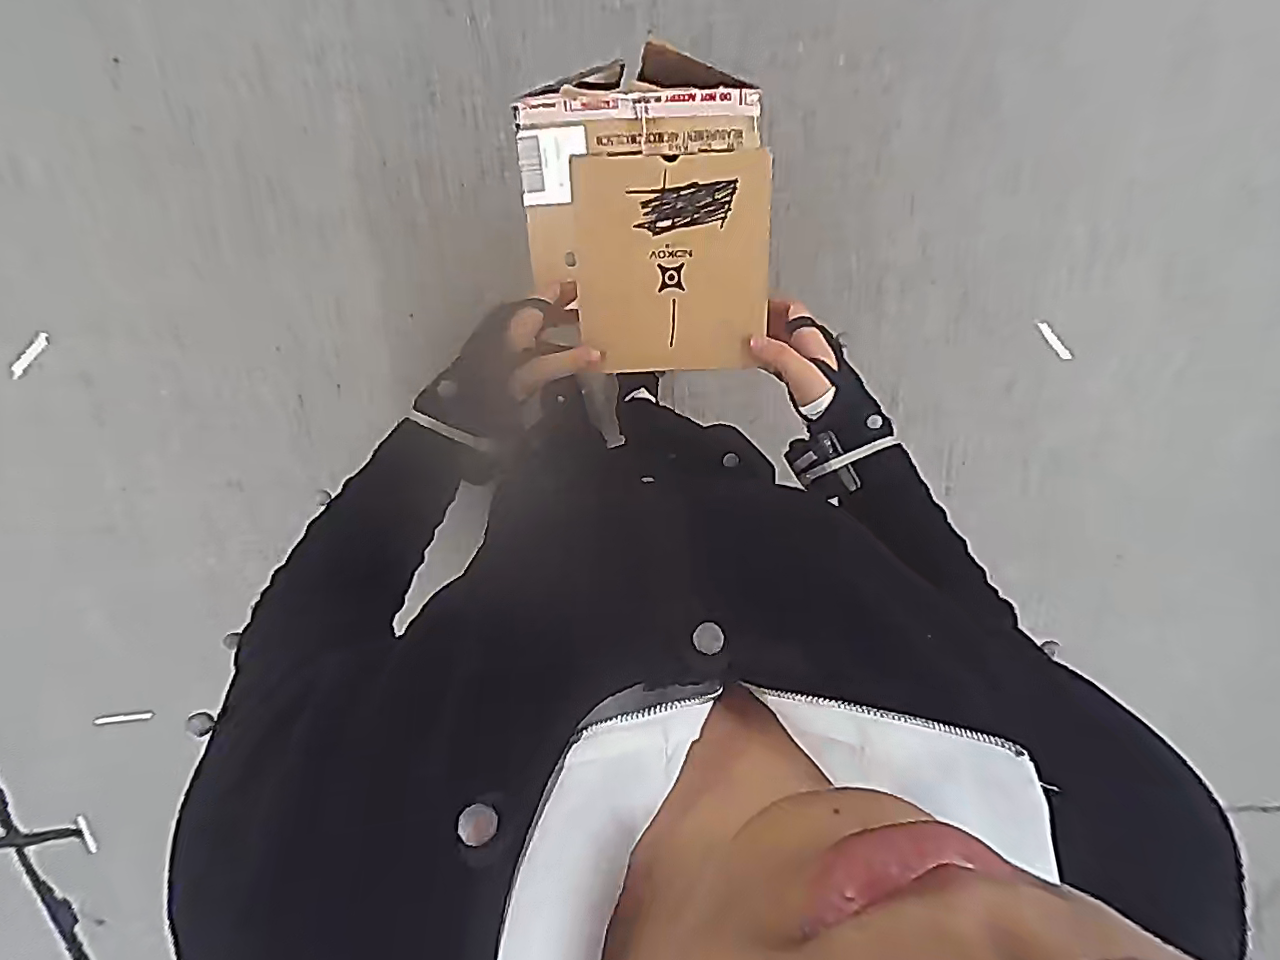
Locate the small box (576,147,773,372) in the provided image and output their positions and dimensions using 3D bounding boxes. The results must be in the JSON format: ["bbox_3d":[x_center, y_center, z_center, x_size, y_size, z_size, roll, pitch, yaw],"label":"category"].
[{"bbox_3d":[0.029,-0.207,0.538,0.168,0.176,0.179,-3,108,0],"label":"small box"}]
